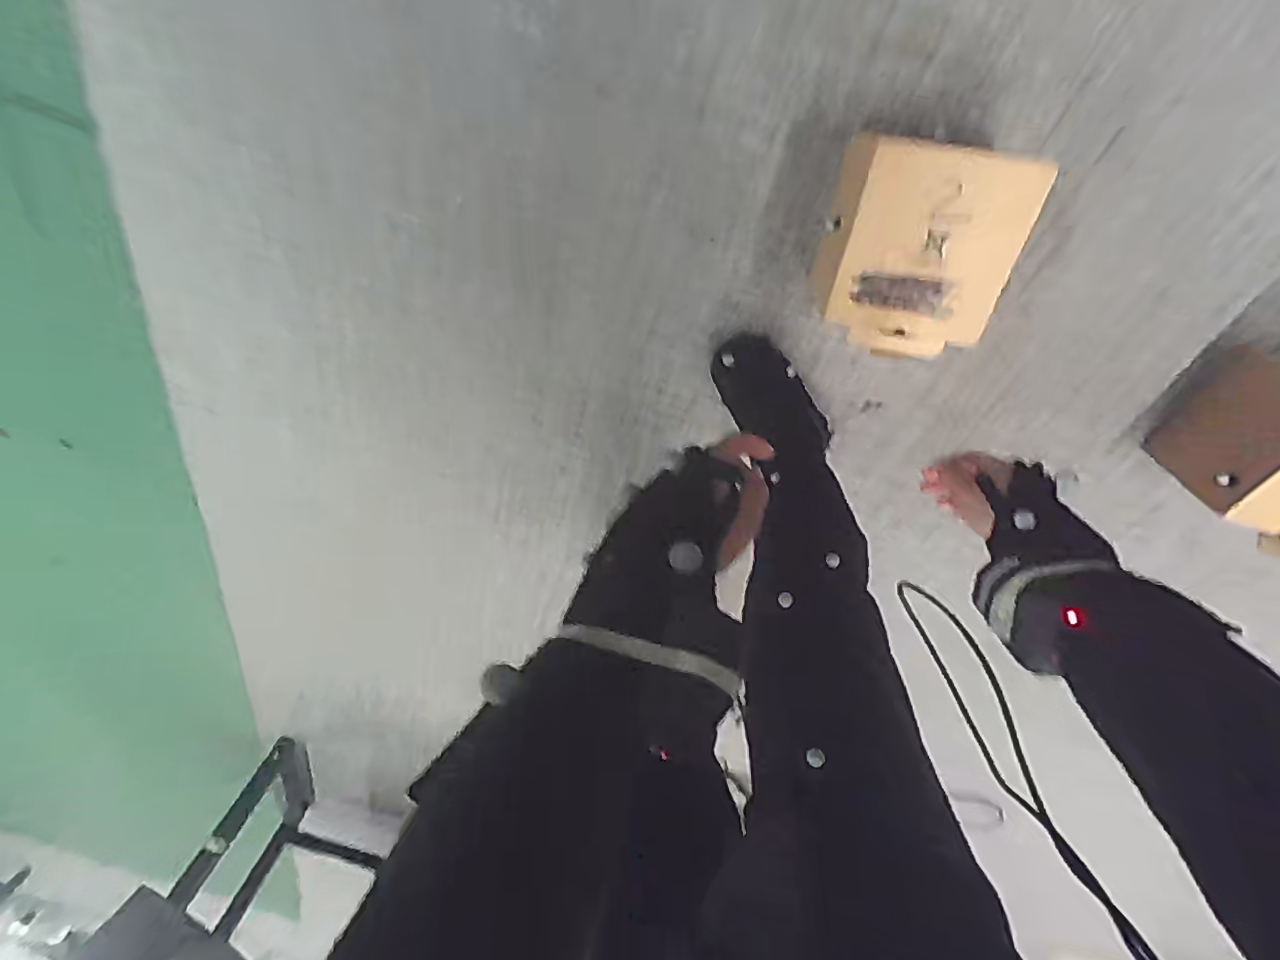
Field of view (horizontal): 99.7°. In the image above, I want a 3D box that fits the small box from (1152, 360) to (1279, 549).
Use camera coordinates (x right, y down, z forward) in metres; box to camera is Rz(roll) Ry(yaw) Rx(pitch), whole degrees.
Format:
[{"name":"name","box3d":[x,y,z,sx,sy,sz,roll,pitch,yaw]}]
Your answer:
[{"name":"small box","box3d":[0.825,-0.027,0.683,0.168,0.176,0.179,18,126,-2]}]
